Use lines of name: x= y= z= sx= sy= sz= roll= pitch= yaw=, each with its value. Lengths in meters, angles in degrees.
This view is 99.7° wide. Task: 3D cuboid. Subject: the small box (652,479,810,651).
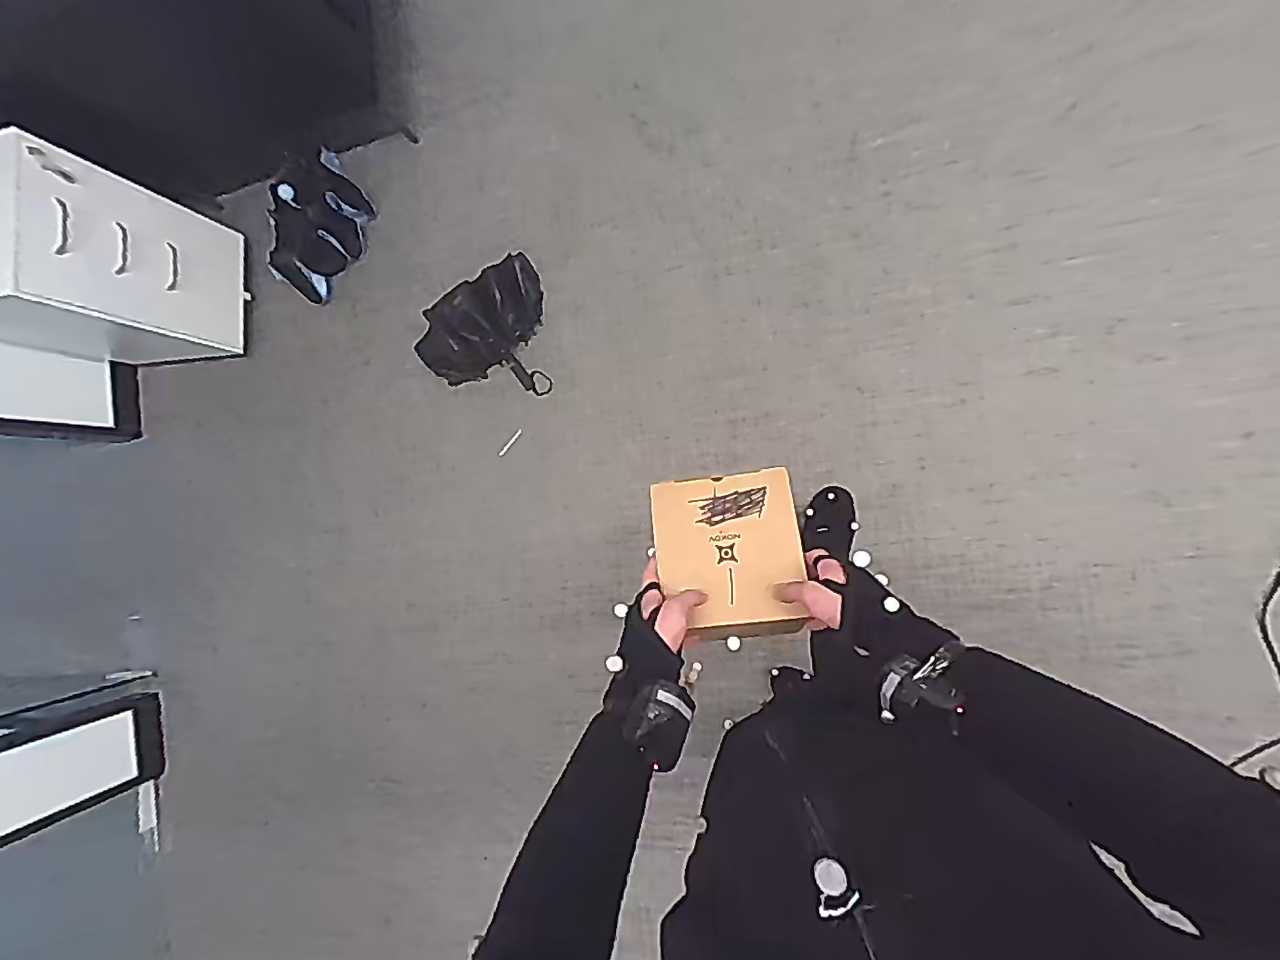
small box: x=0.113 y=0.117 z=0.698 sx=0.168 sy=0.176 sz=0.179 roll=-9 pitch=67 yaw=9
